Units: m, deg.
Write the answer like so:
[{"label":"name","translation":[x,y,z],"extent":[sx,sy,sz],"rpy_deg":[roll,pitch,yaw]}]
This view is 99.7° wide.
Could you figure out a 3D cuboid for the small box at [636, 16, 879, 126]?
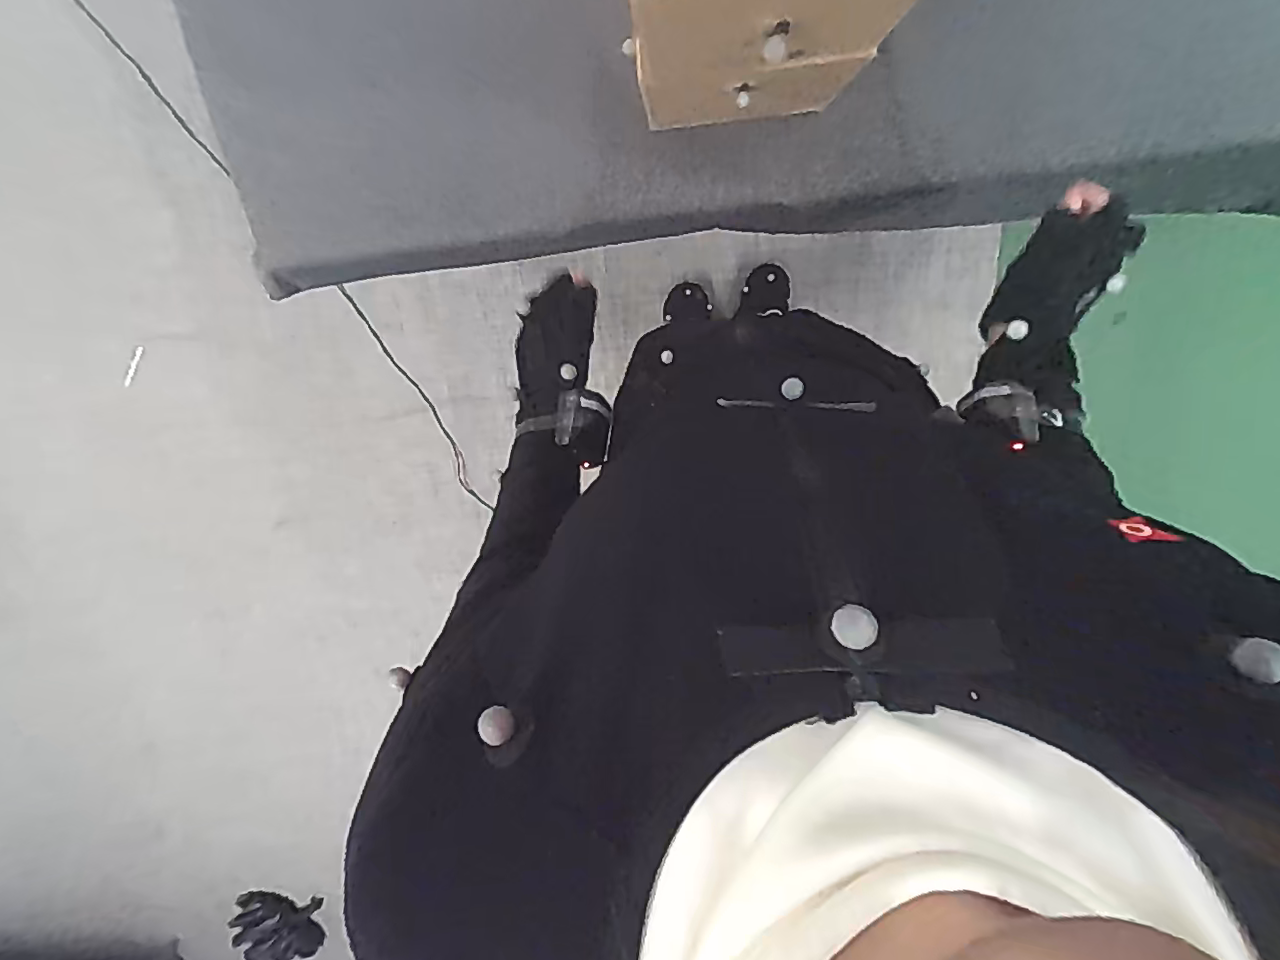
[{"label":"small box","translation":[0.086,-0.410,0.445],"extent":[0.179,0.176,0.168],"rpy_deg":[-4,113,5]}]

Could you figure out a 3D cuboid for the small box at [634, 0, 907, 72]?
[{"label":"small box","translation":[0.074,-0.351,0.294],"extent":[0.168,0.176,0.179],"rpy_deg":[-5,113,7]}]
